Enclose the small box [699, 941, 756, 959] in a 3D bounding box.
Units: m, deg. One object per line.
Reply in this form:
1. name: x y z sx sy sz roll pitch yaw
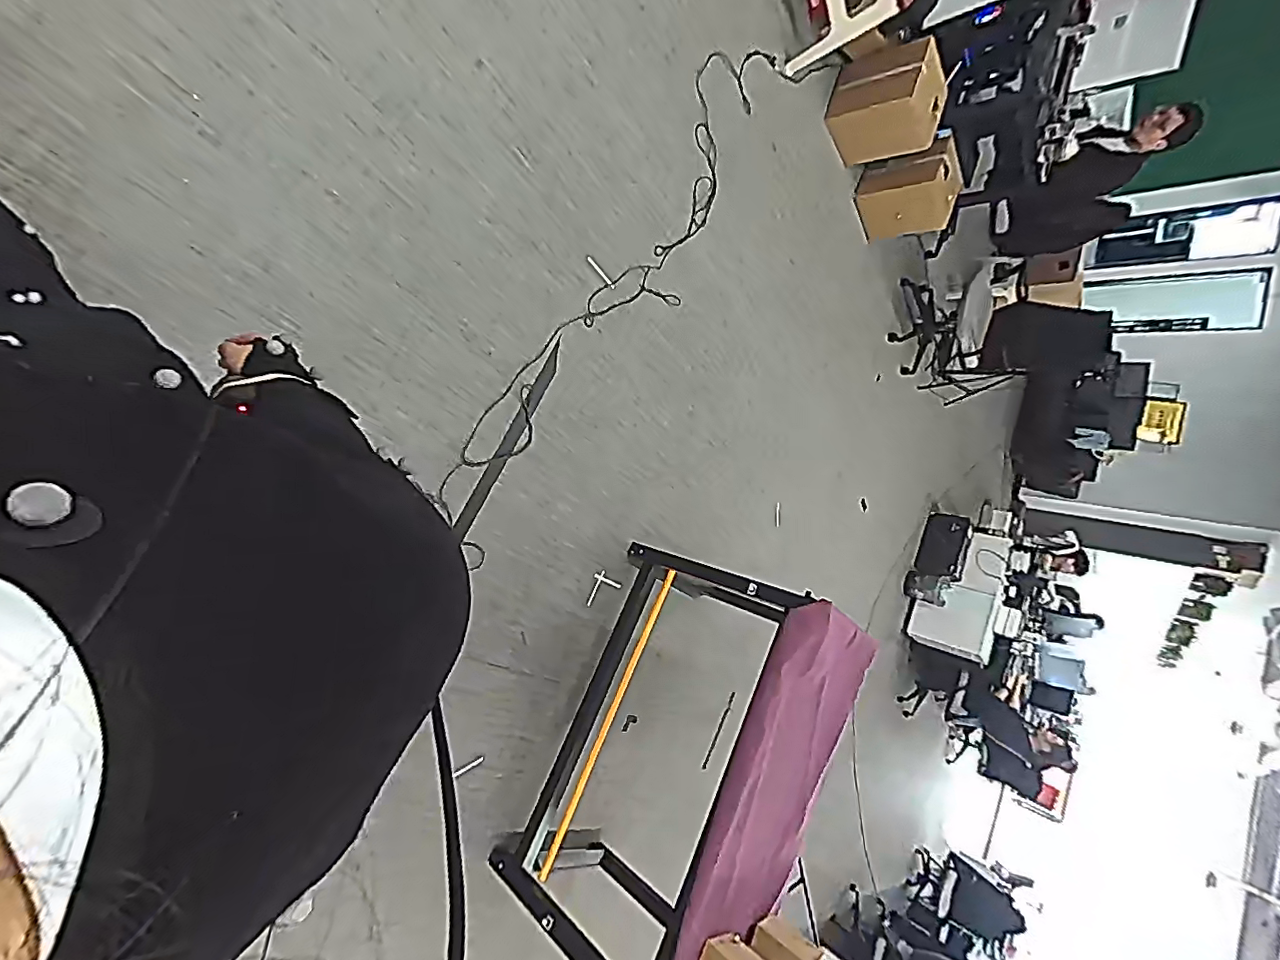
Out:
1. small box: 0.233 1.333 1.391 0.168 0.176 0.179 42 69 -44
